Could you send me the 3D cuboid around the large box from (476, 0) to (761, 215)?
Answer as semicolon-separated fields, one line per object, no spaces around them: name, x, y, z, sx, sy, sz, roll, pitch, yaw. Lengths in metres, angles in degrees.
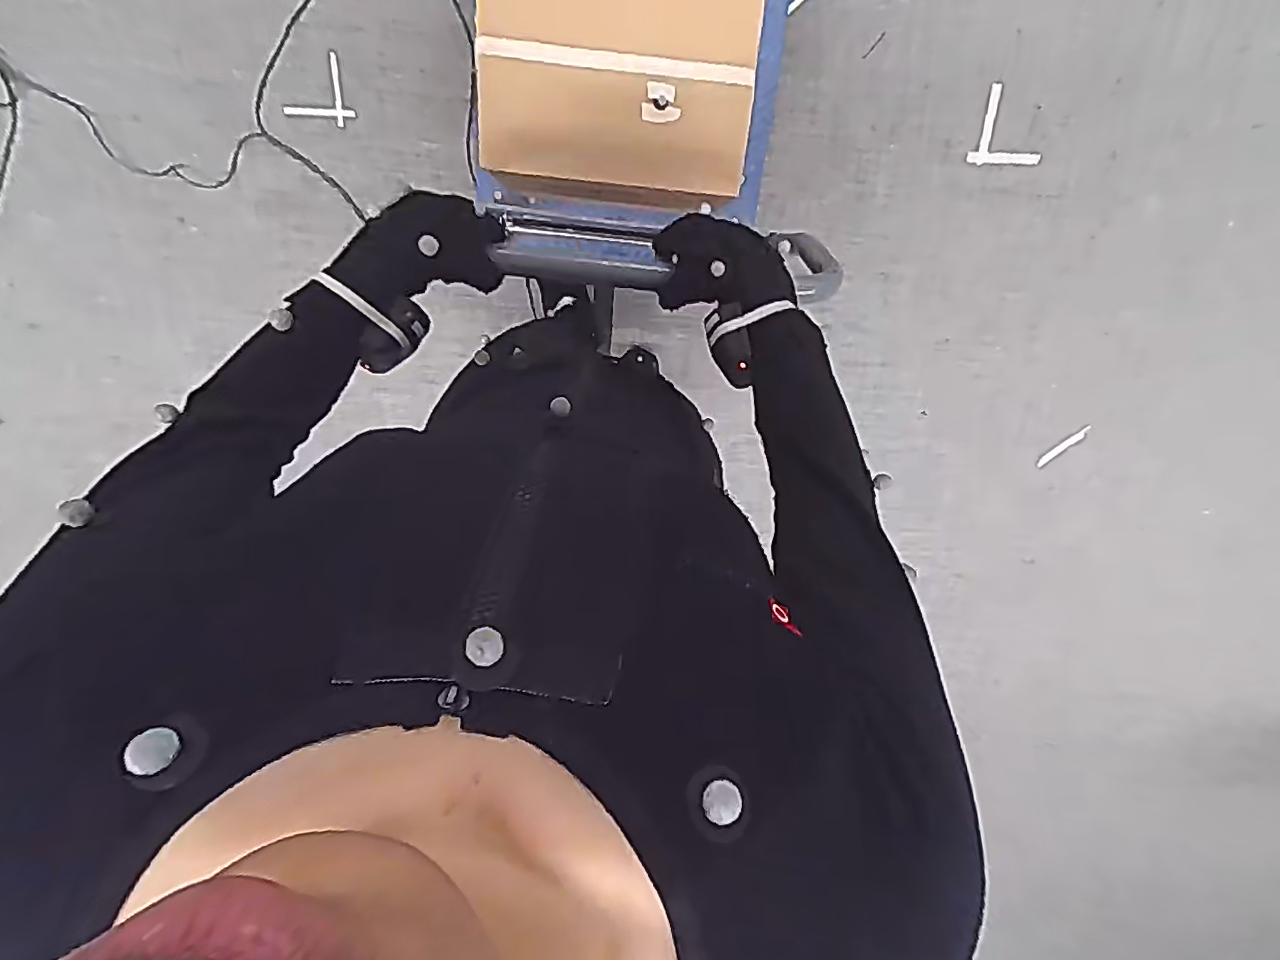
large box;-0.043;-0.649;0.919;0.408;0.320;0.320;3;111;-5
